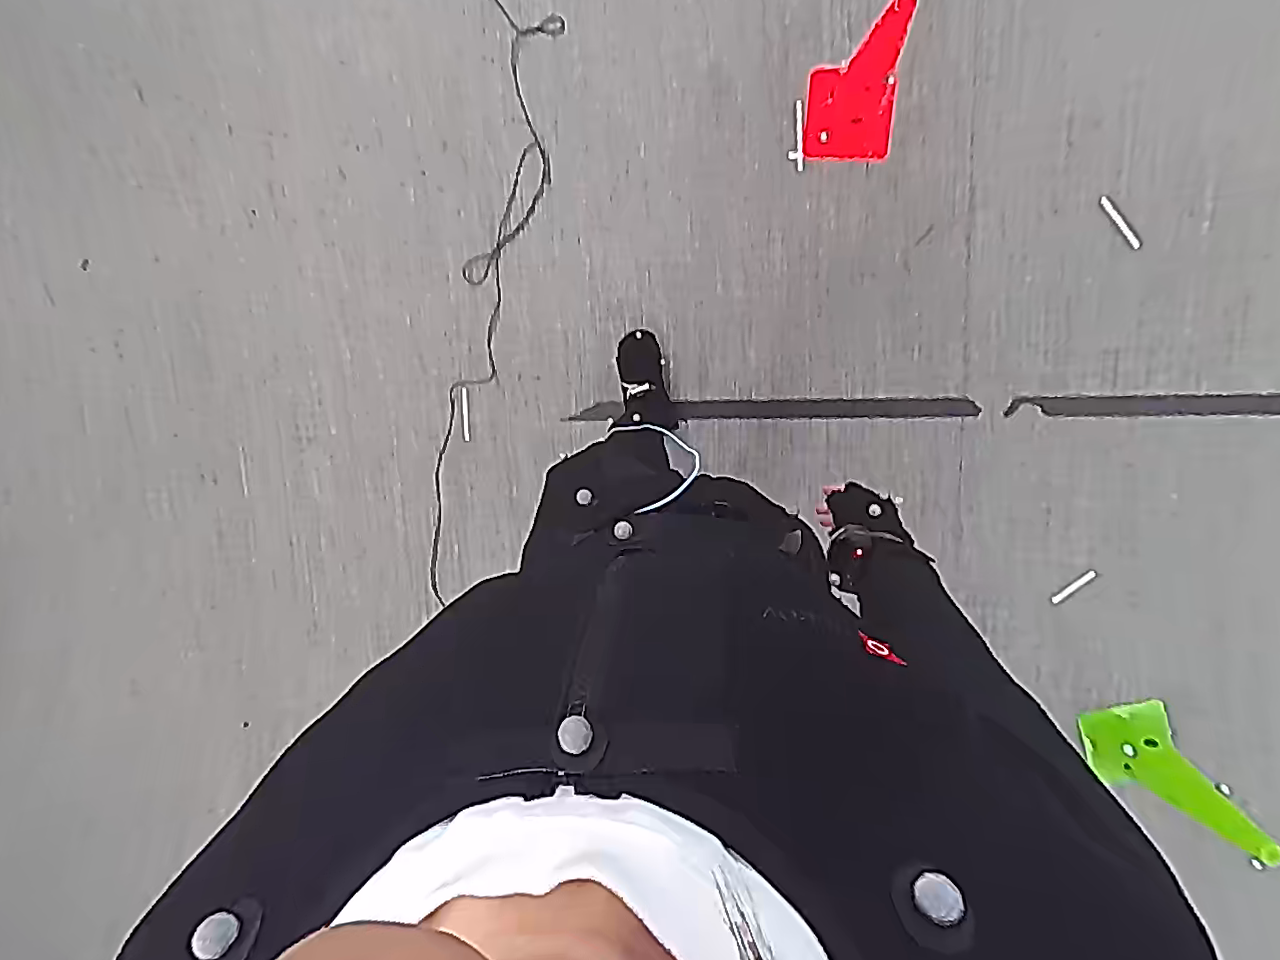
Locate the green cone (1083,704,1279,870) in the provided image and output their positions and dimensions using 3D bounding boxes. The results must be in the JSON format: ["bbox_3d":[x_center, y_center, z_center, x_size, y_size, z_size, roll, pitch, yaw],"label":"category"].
[{"bbox_3d":[1.211,0.685,1.183,0.202,0.368,0.200,-16,94,9],"label":"green cone"}]

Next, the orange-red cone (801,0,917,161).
[{"bbox_3d":[0.469,-0.829,1.085,0.199,0.360,0.198,6,98,4],"label":"orange-red cone"}]
